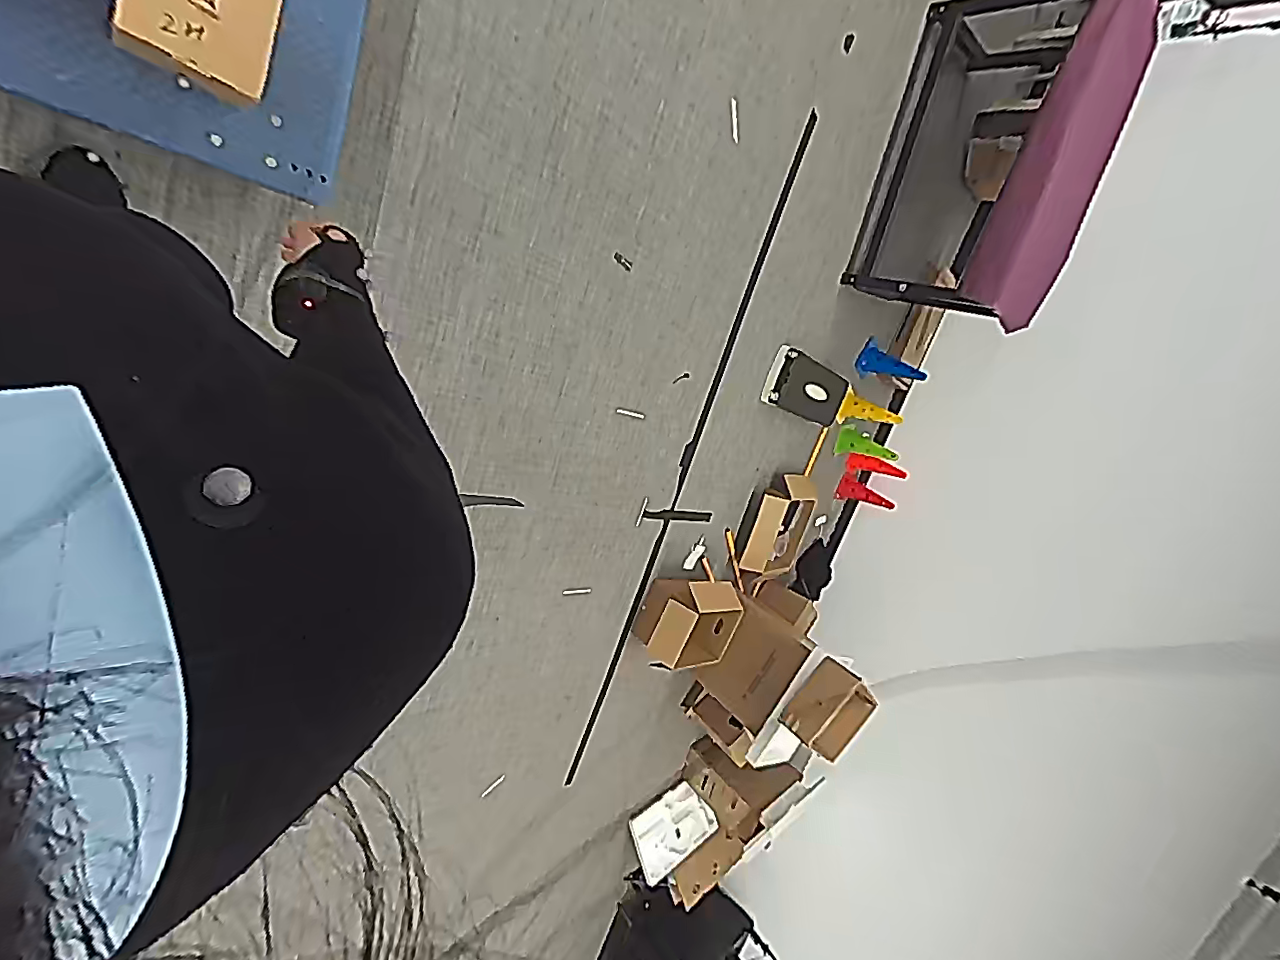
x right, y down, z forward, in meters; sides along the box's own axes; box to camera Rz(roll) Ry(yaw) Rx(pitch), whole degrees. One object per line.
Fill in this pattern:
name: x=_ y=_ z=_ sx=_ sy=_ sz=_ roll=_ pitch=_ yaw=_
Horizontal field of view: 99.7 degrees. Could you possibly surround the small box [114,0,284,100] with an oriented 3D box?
small box: x=-0.655 y=-0.707 z=0.803 sx=0.168 sy=0.176 sz=0.179 roll=11 pitch=105 yaw=-47
